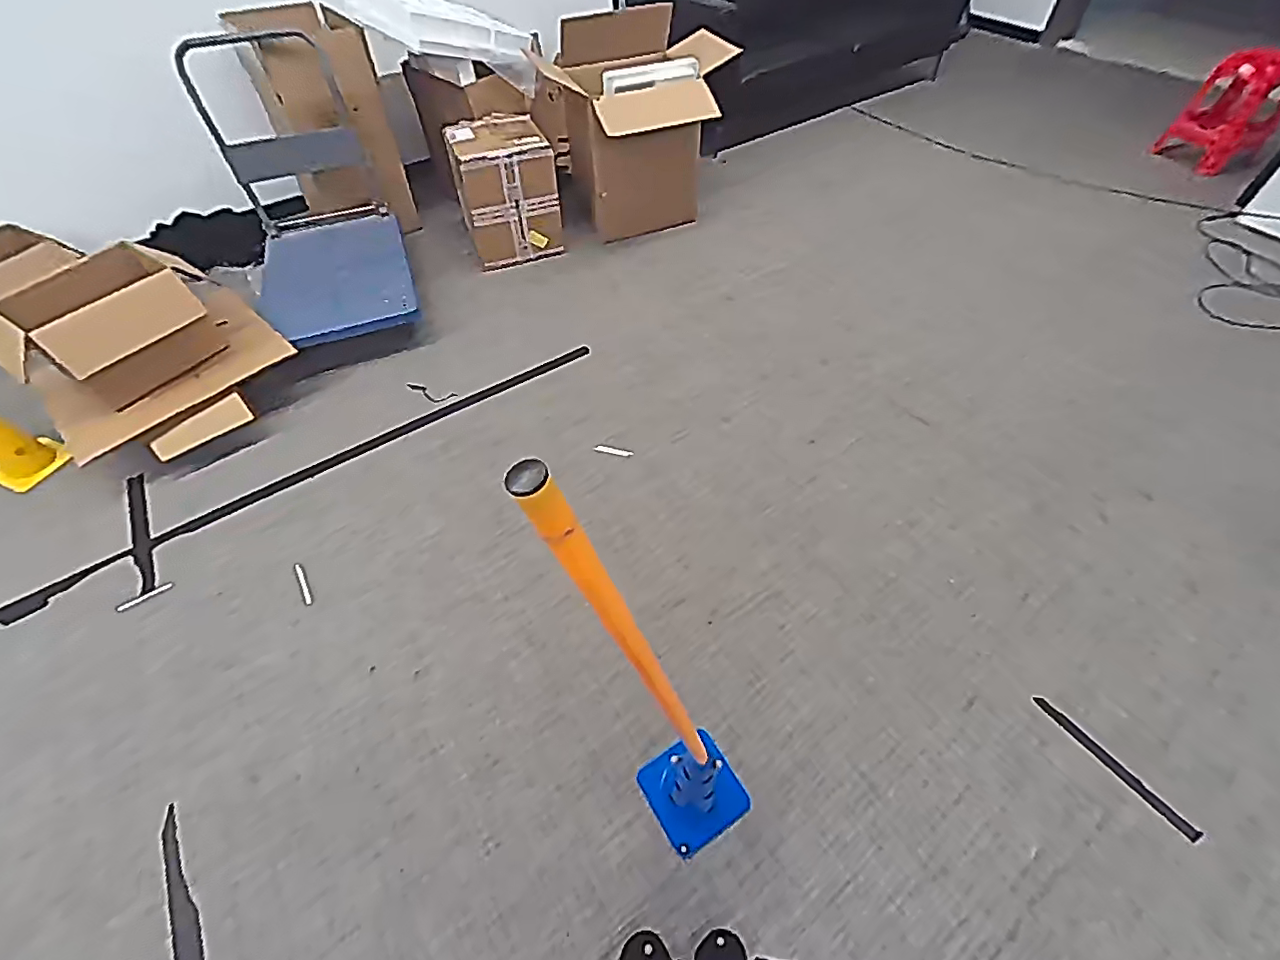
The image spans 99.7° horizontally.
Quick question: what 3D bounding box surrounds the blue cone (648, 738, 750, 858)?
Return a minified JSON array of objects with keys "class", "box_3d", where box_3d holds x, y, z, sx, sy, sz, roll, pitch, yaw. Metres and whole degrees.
[{"class":"blue cone","box_3d":[0.125,0.607,1.089,0.193,0.380,0.192,-26,56,-17]}]
